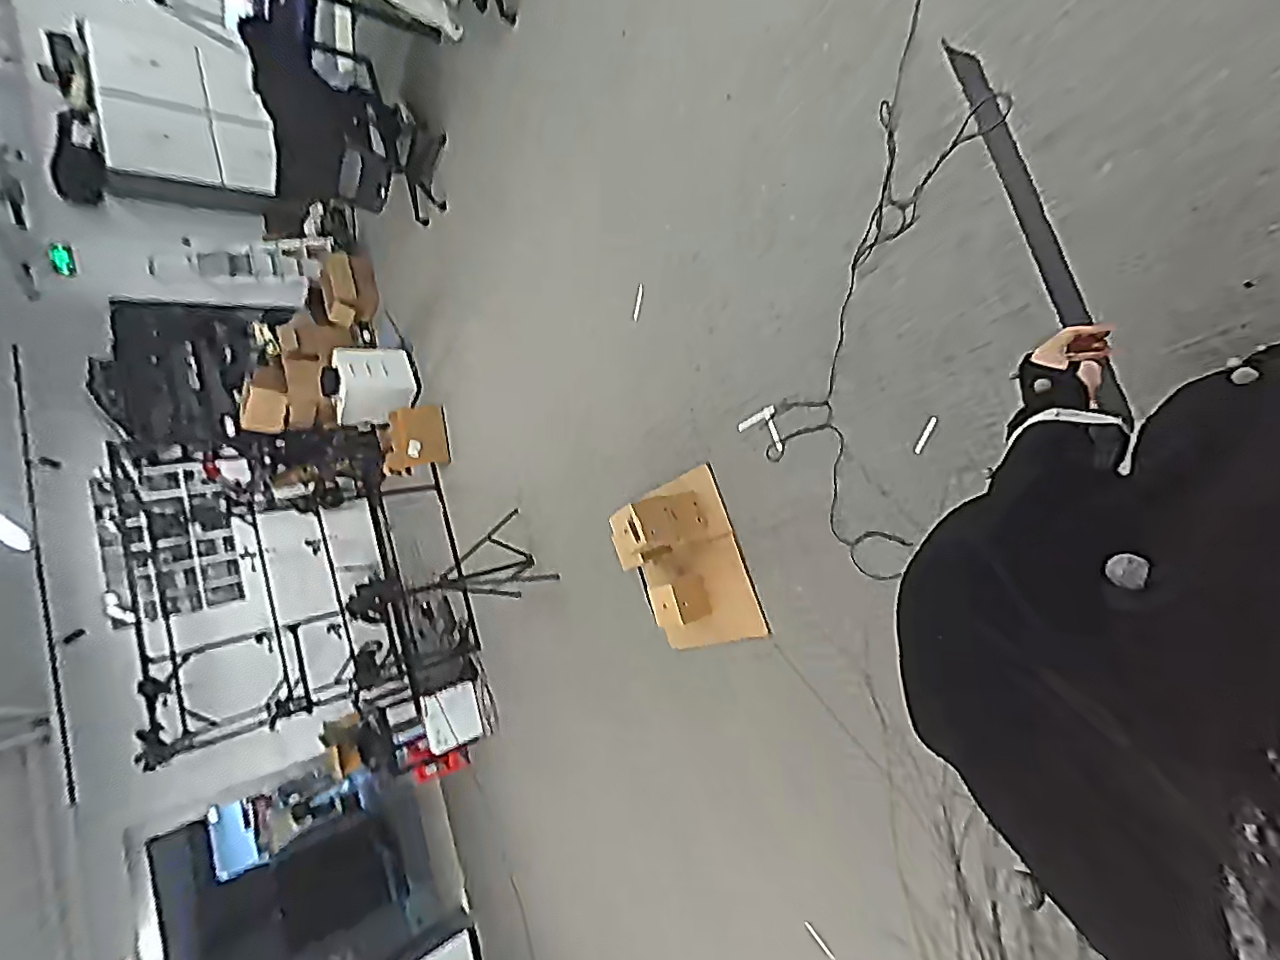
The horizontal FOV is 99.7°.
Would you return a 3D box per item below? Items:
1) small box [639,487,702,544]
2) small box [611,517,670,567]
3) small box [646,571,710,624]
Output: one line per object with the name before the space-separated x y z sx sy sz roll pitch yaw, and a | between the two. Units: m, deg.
small box | 0.130 0.142 2.189 0.179 0.176 0.168 -37 70 49
small box | 0.004 0.265 2.380 0.168 0.176 0.179 -38 70 50
small box | 0.159 0.482 2.234 0.168 0.176 0.179 -24 81 51
